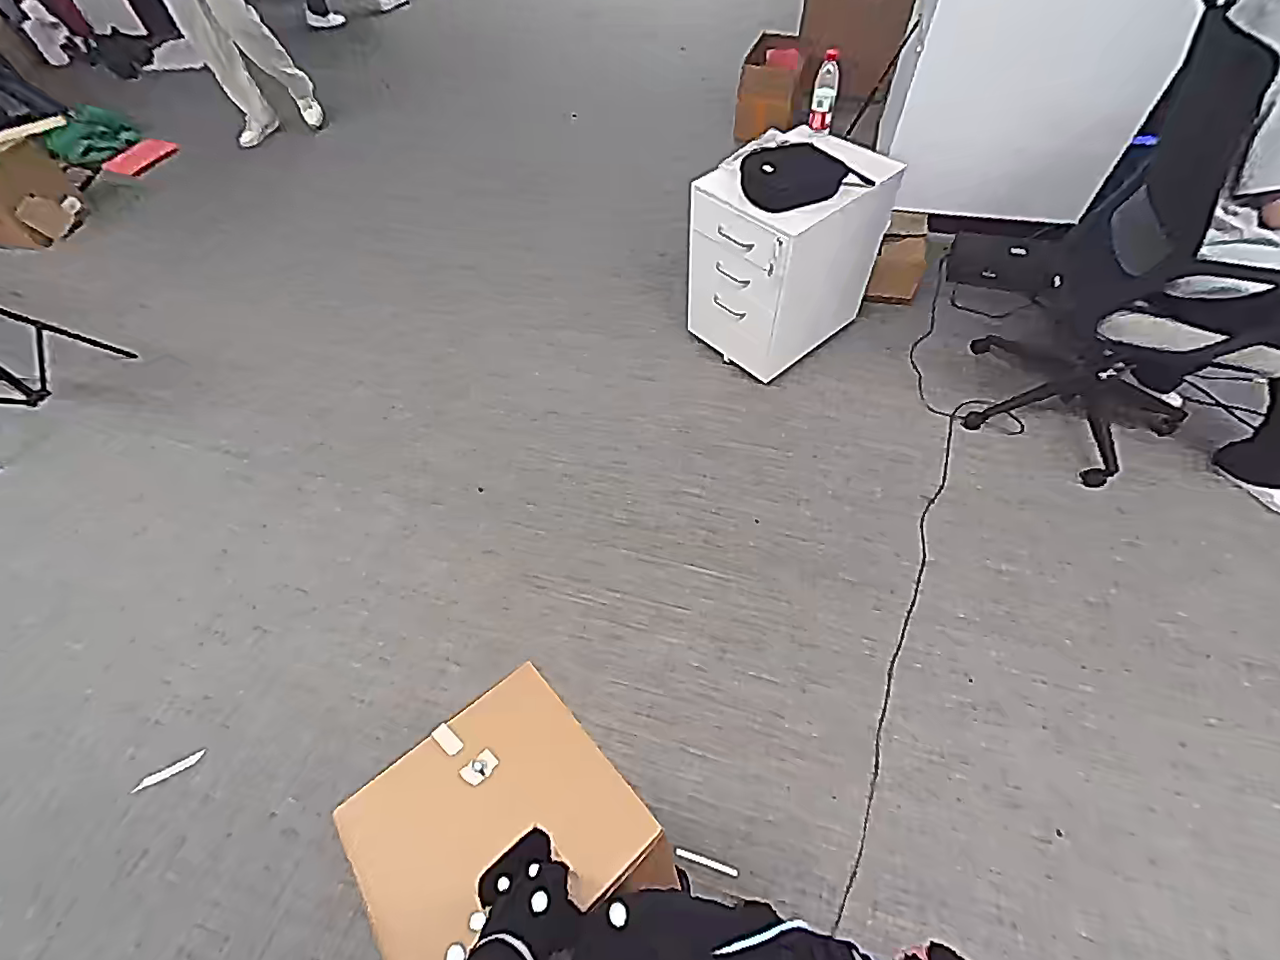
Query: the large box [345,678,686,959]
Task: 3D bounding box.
[{"bbox_3d":[-0.156,0.581,0.811,0.320,0.408,0.320,-34,49,-24],"label":"large box"}]
